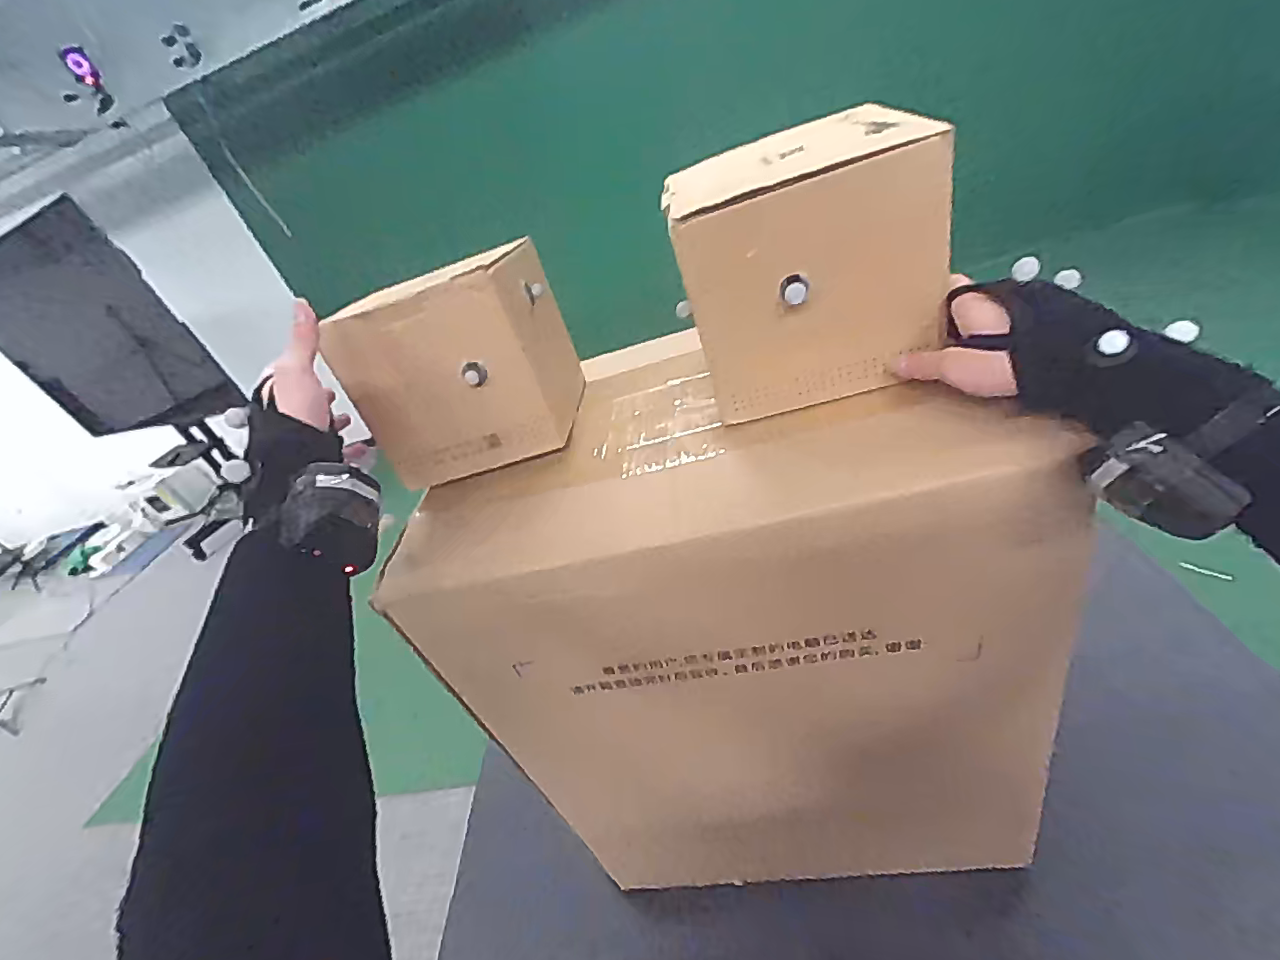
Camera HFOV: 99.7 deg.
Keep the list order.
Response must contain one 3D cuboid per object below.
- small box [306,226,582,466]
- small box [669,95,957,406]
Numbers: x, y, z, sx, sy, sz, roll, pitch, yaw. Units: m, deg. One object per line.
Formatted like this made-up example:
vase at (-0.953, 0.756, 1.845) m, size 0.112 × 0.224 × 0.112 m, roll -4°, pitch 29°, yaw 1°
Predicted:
small box at (-0.165, -0.127, 0.526) m, size 0.168 × 0.176 × 0.179 m, roll -14°, pitch 27°, yaw 8°
small box at (0.131, -0.181, 0.439) m, size 0.179 × 0.176 × 0.168 m, roll -14°, pitch 36°, yaw 11°
